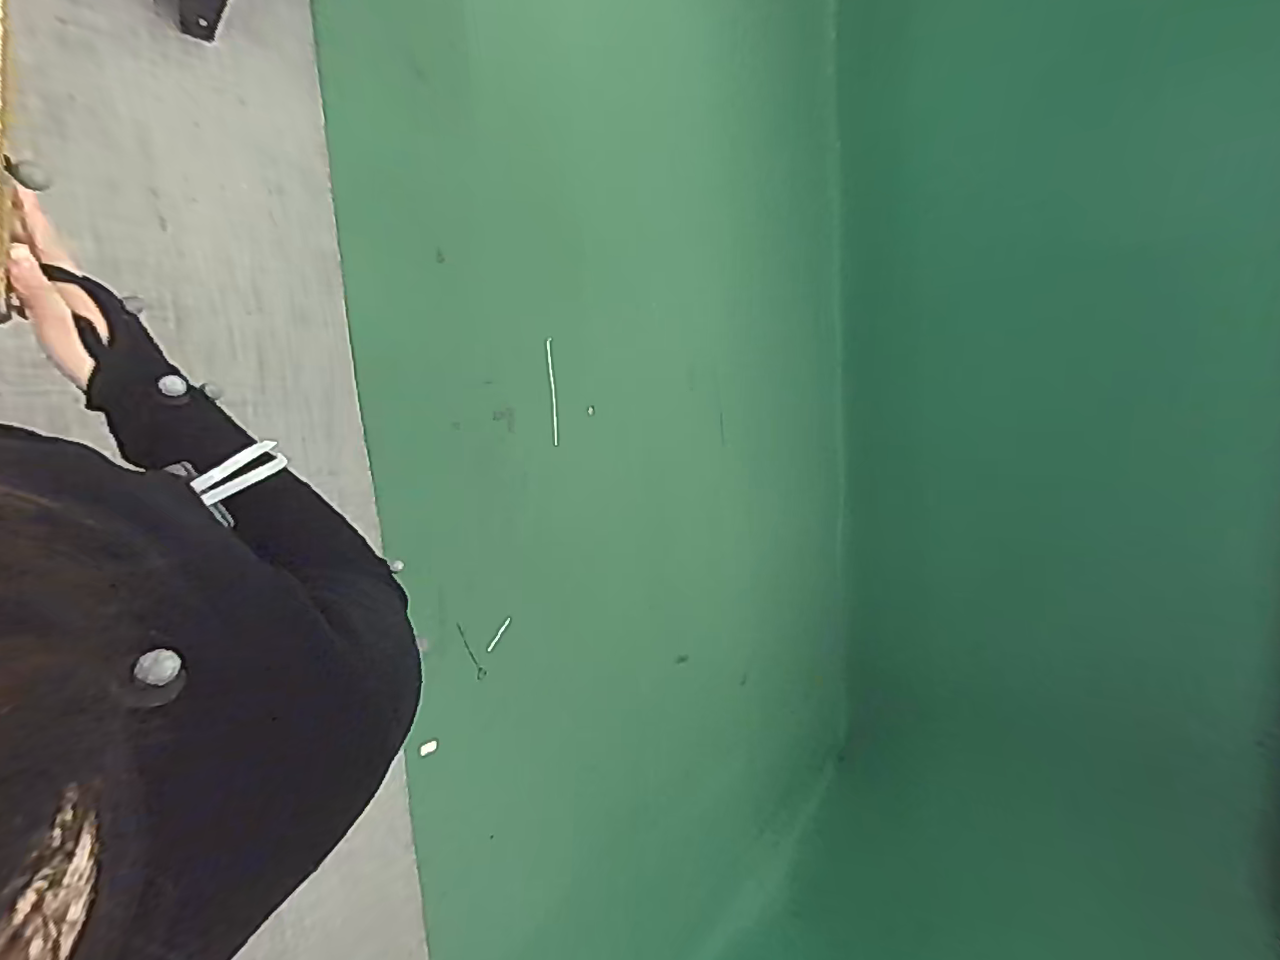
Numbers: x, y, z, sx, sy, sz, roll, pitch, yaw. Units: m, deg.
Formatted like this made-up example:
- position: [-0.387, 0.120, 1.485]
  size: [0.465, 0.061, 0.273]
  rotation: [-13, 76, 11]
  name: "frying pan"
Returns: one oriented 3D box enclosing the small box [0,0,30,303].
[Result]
- position: [-0.449, -0.204, 0.284]
  size: [0.168, 0.176, 0.179]
  rotation: [1, 98, -49]
  name: "small box"
